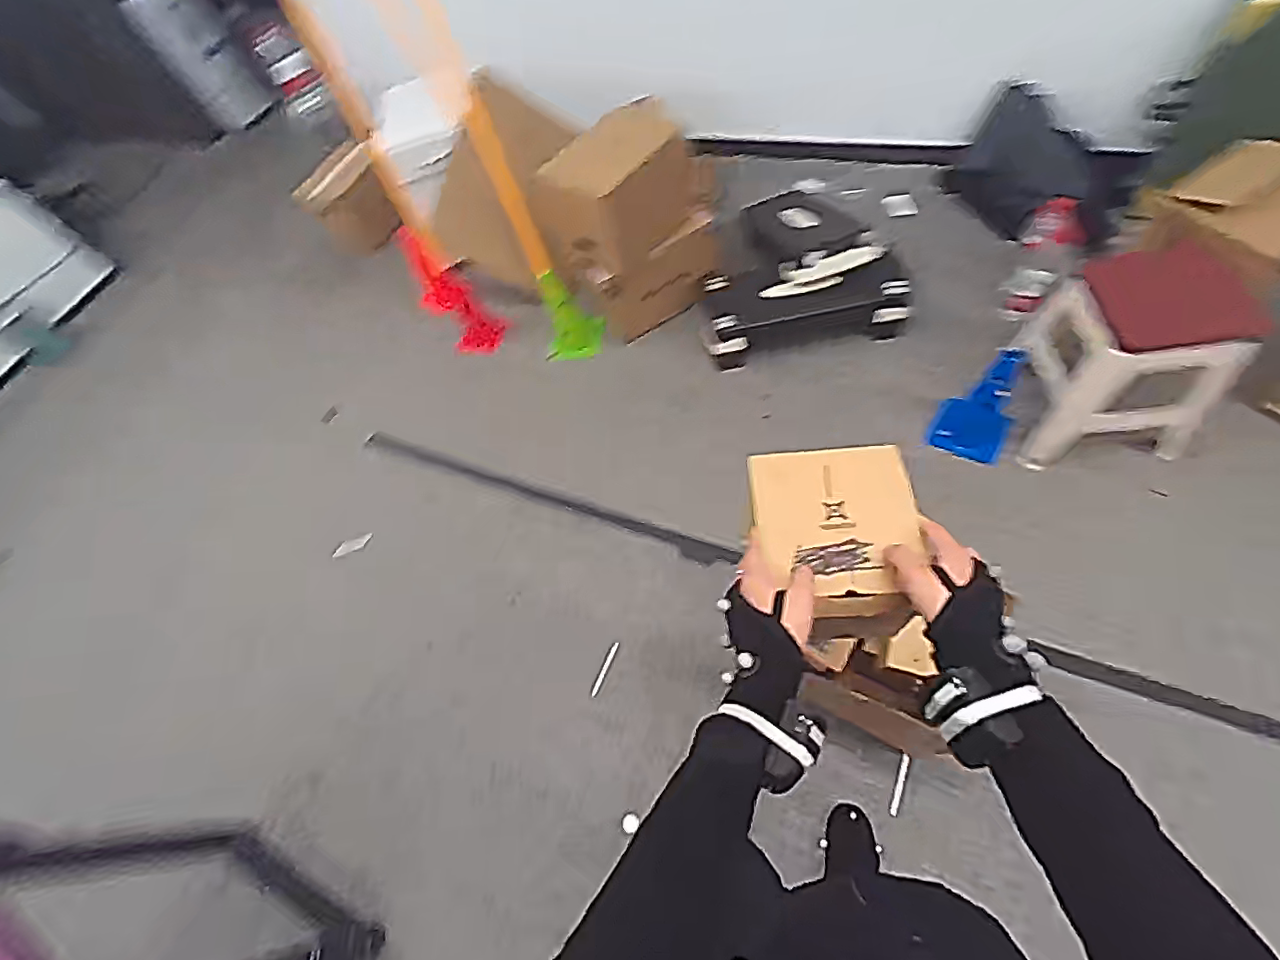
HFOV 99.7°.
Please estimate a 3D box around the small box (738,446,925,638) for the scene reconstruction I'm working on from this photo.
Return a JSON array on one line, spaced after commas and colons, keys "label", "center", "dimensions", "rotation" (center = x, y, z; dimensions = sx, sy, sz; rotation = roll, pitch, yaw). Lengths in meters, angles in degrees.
[{"label": "small box", "center": [0.208, 0.083, 0.639], "dimensions": [0.168, 0.176, 0.179], "rotation": [-5, 59, 7]}]
